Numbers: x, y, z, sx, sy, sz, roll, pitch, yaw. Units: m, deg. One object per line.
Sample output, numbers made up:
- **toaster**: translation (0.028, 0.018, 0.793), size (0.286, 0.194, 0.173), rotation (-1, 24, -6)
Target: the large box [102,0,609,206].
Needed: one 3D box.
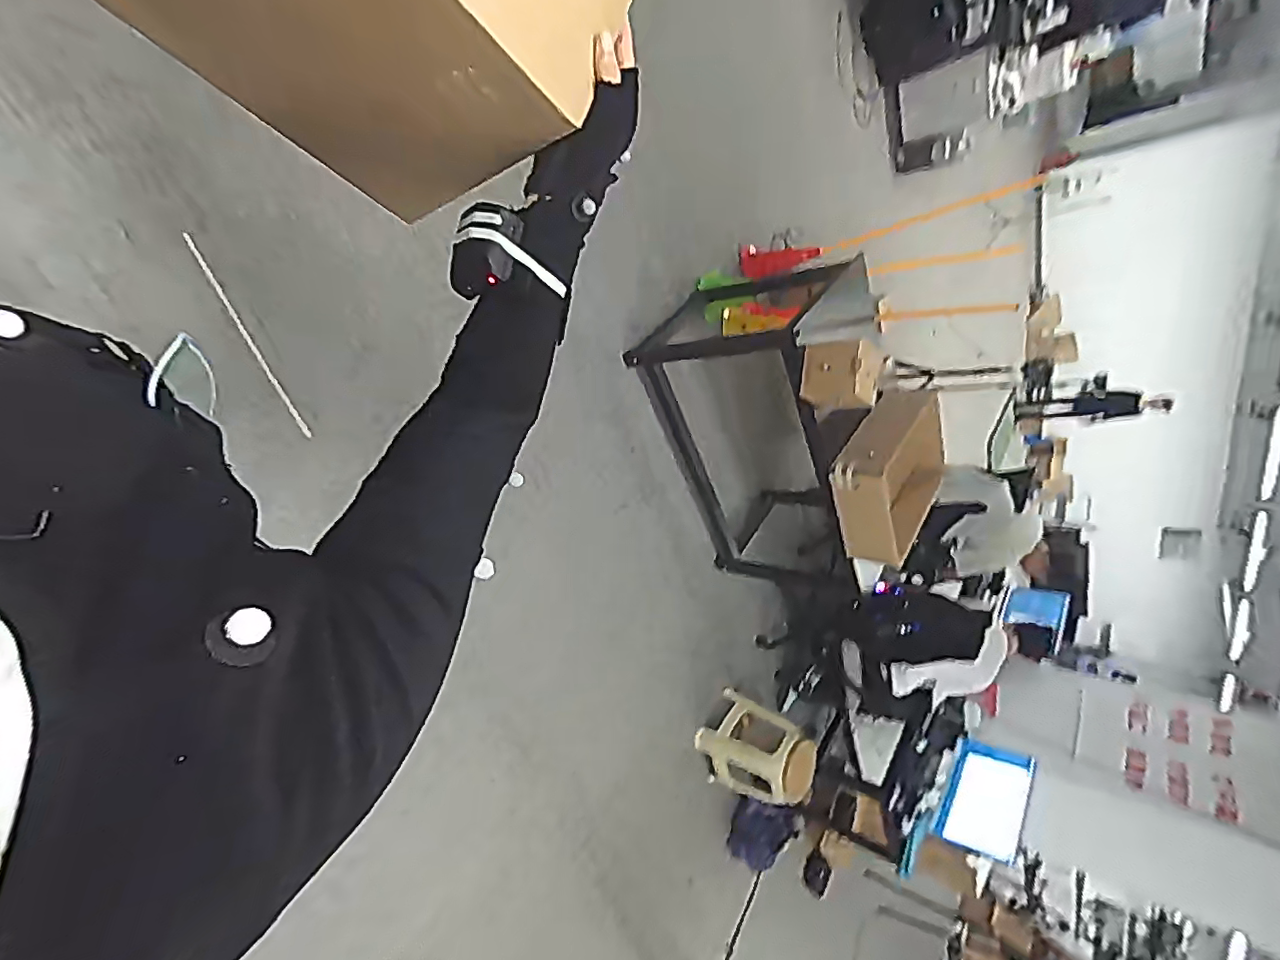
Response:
- **large box**: translation (-0.251, -0.503, 0.414), size (0.408, 0.320, 0.320), rotation (25, 77, -45)
